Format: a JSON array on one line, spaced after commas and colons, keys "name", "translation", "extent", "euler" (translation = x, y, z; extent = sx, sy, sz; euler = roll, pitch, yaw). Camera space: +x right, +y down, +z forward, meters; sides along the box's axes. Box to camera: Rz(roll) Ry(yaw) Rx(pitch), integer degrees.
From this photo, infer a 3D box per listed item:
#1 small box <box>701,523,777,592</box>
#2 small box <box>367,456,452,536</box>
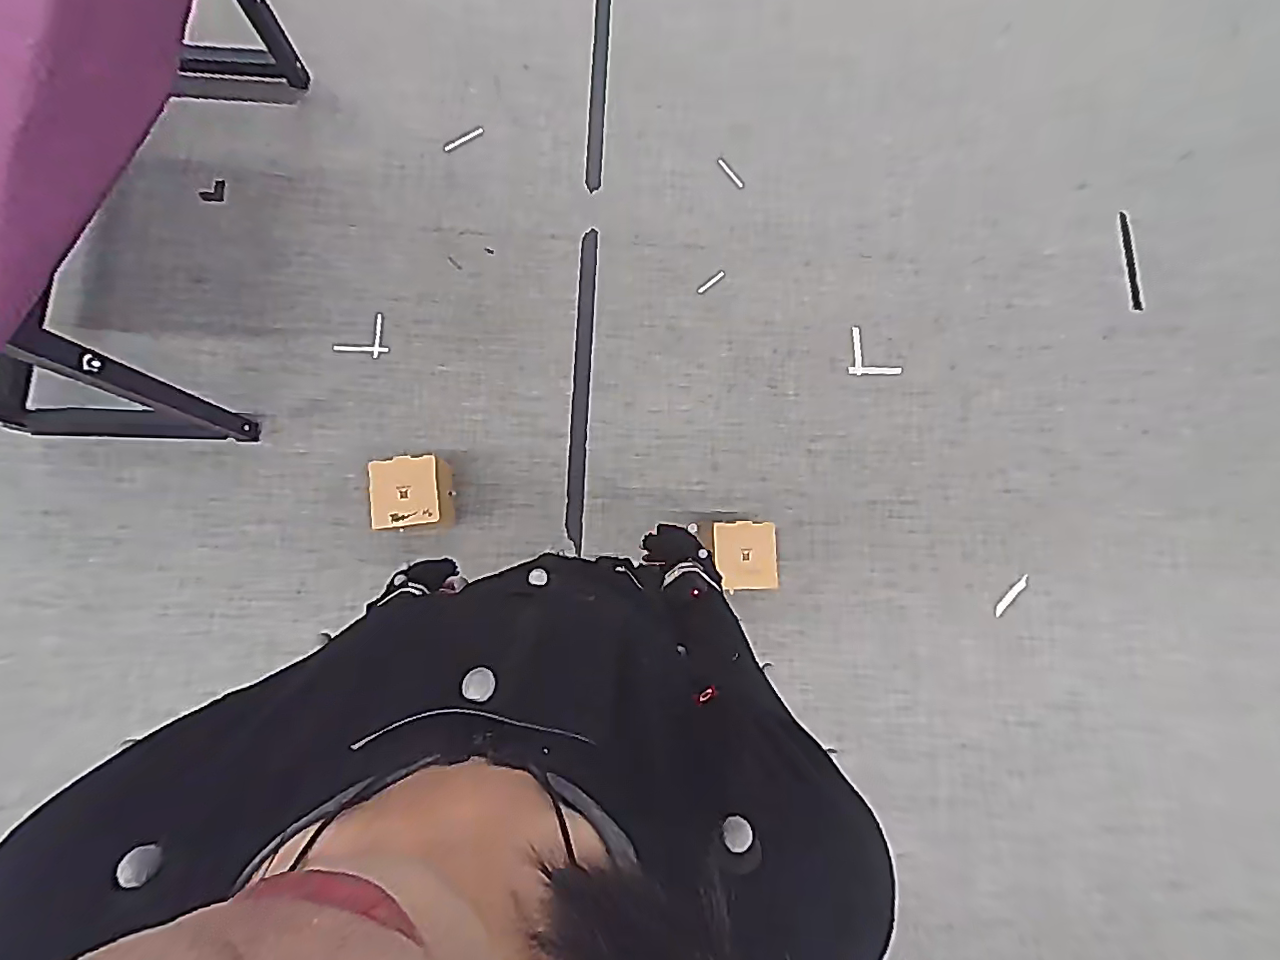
[{"name": "small box", "translation": [0.263, 0.214, 1.476], "extent": [0.168, 0.176, 0.179], "euler": [-1, 81, -4]}, {"name": "small box", "translation": [-0.603, 0.046, 1.425], "extent": [0.168, 0.176, 0.179], "euler": [-7, 80, -6]}]
